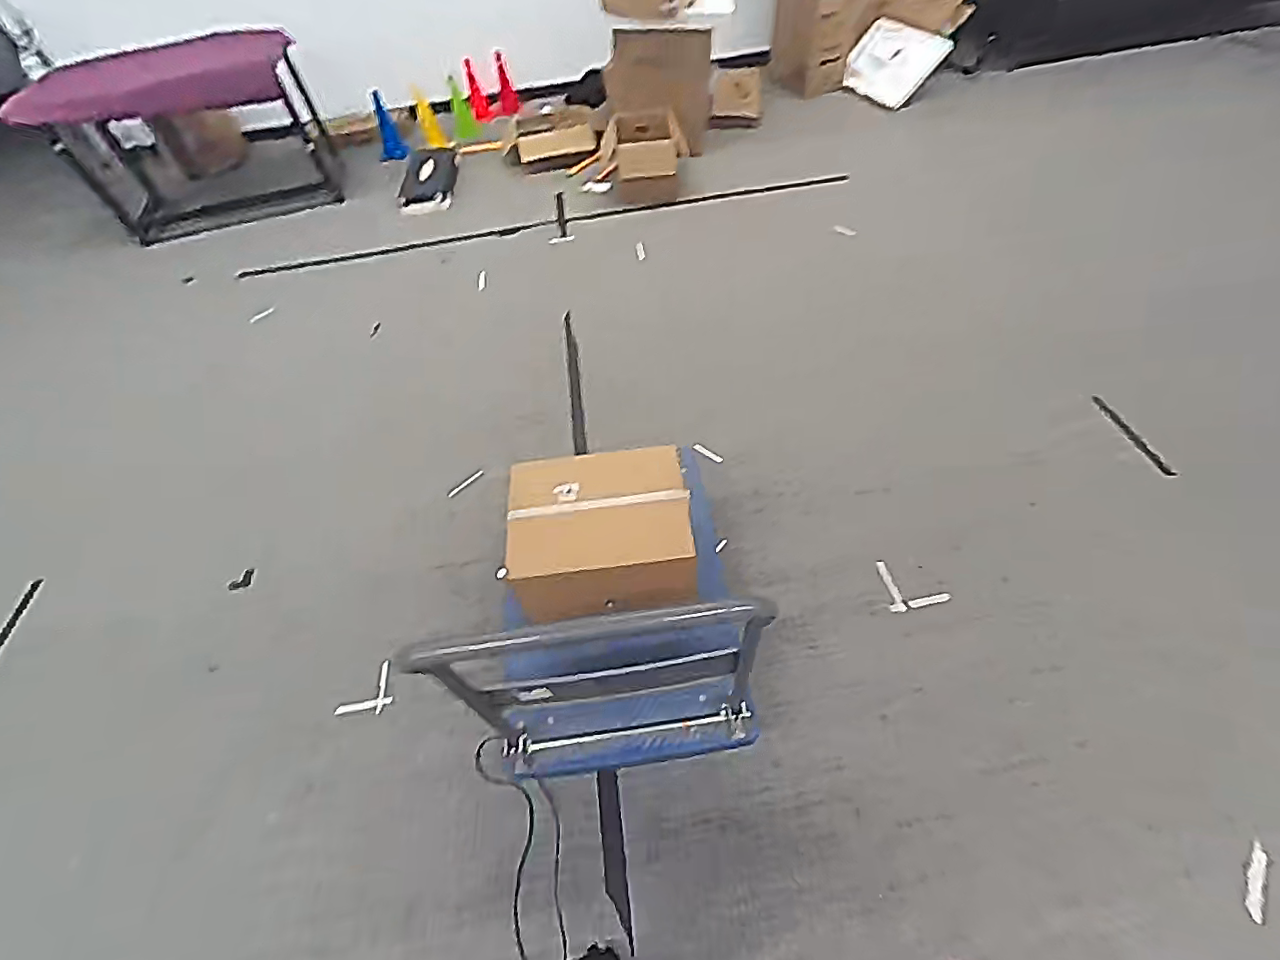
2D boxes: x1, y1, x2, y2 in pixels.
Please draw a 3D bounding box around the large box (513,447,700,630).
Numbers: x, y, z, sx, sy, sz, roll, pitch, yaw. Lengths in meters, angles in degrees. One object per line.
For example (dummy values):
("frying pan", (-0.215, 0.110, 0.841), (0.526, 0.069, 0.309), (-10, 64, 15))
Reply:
("large box", (-0.074, 0.154, 1.353), (0.408, 0.320, 0.320), (-8, 52, 1))
